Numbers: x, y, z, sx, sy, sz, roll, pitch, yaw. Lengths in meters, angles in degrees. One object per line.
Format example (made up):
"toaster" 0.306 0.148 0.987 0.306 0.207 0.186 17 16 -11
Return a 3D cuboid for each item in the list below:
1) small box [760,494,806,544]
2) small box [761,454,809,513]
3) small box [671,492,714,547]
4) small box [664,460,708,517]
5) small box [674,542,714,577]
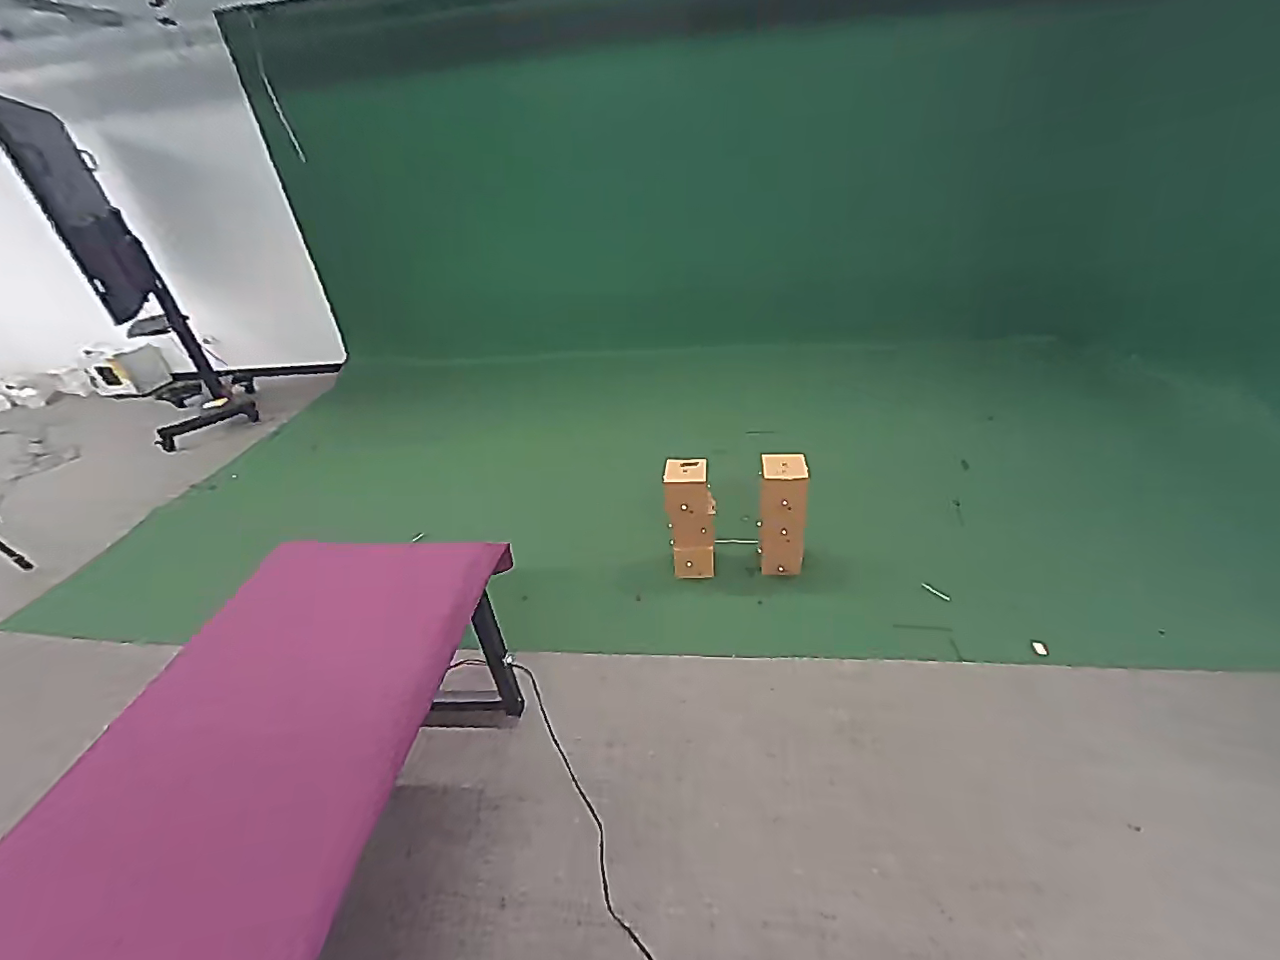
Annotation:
"small box" 0.590 0.150 2.243 0.168 0.176 0.179 0 35 8
"small box" 0.572 0.013 2.153 0.168 0.176 0.179 0 35 9
"small box" 0.223 0.168 2.283 0.179 0.176 0.168 -3 32 6
"small box" 0.191 0.031 2.198 0.168 0.176 0.179 -1 33 9
"small box" 0.237 0.312 2.358 0.168 0.176 0.179 -3 33 6
